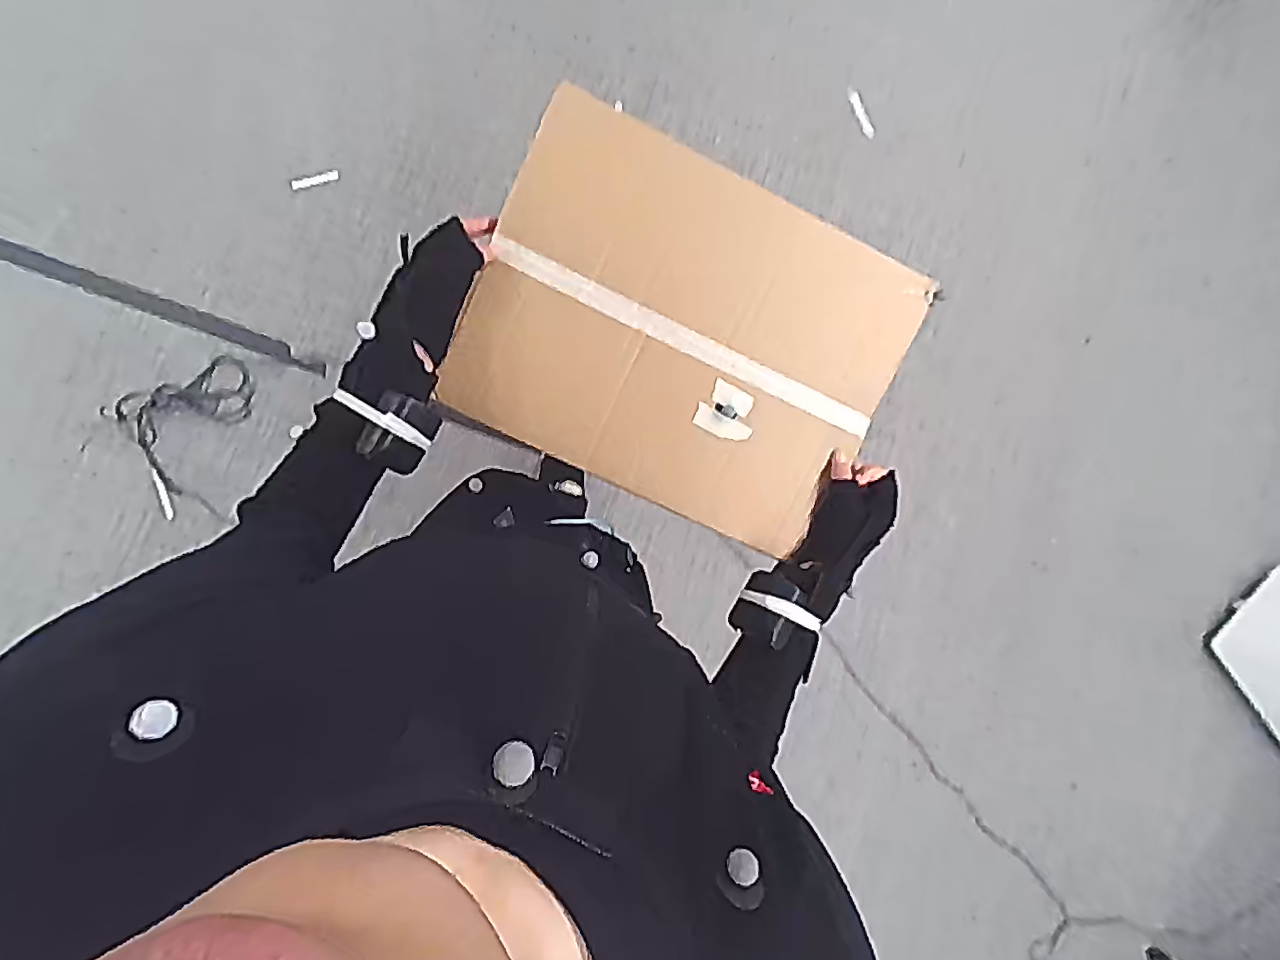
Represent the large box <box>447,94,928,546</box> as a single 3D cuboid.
[{"bbox_3d":[0.040,-0.163,0.683,0.408,0.320,0.320,25,96,-7],"label":"large box"}]
